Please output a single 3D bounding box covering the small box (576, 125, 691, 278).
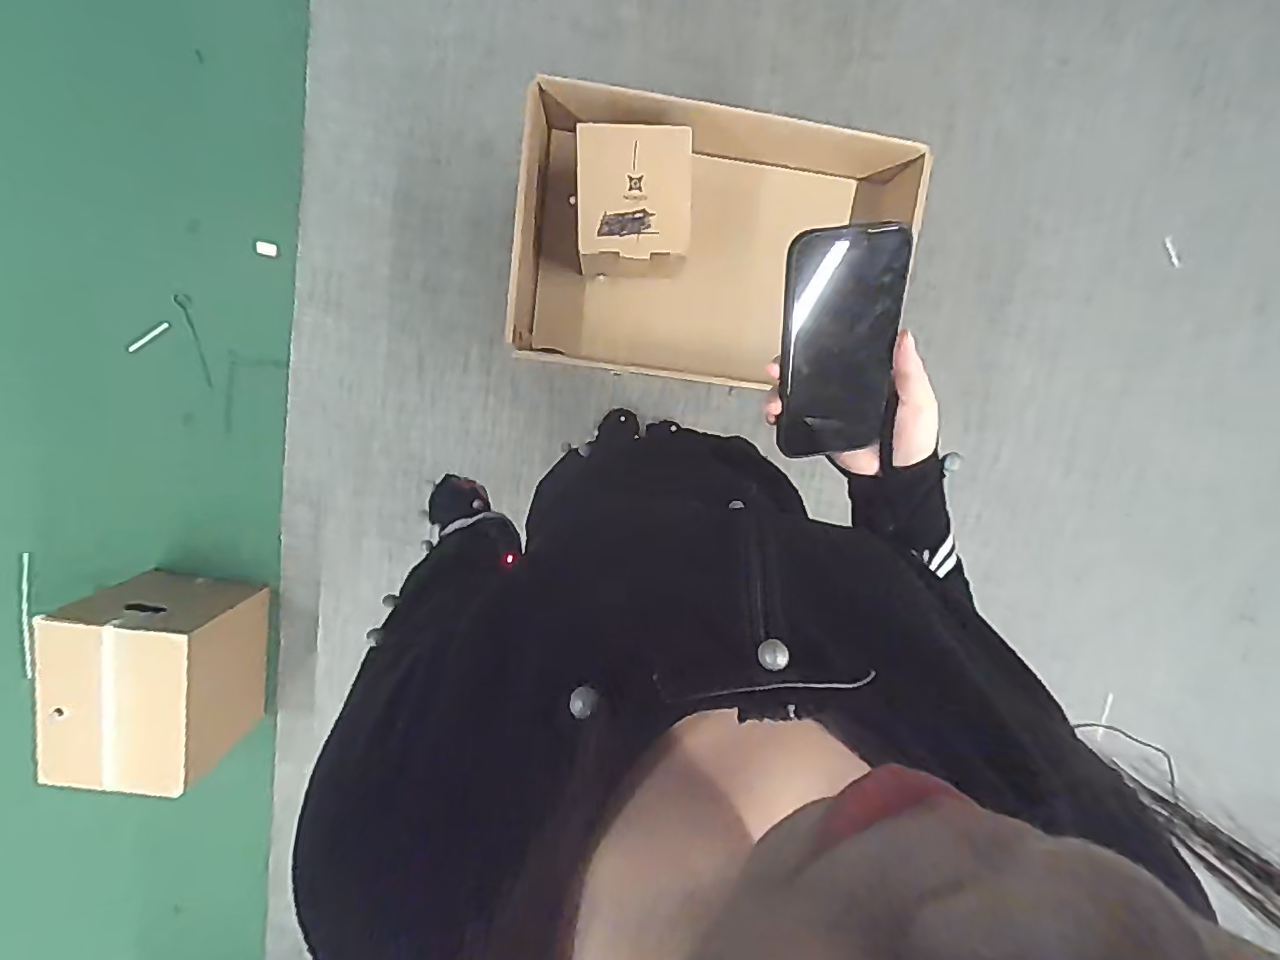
[{"bbox_3d":[-0.013,-0.425,0.854,0.168,0.176,0.179,0,99,-3],"label":"small box"}]
